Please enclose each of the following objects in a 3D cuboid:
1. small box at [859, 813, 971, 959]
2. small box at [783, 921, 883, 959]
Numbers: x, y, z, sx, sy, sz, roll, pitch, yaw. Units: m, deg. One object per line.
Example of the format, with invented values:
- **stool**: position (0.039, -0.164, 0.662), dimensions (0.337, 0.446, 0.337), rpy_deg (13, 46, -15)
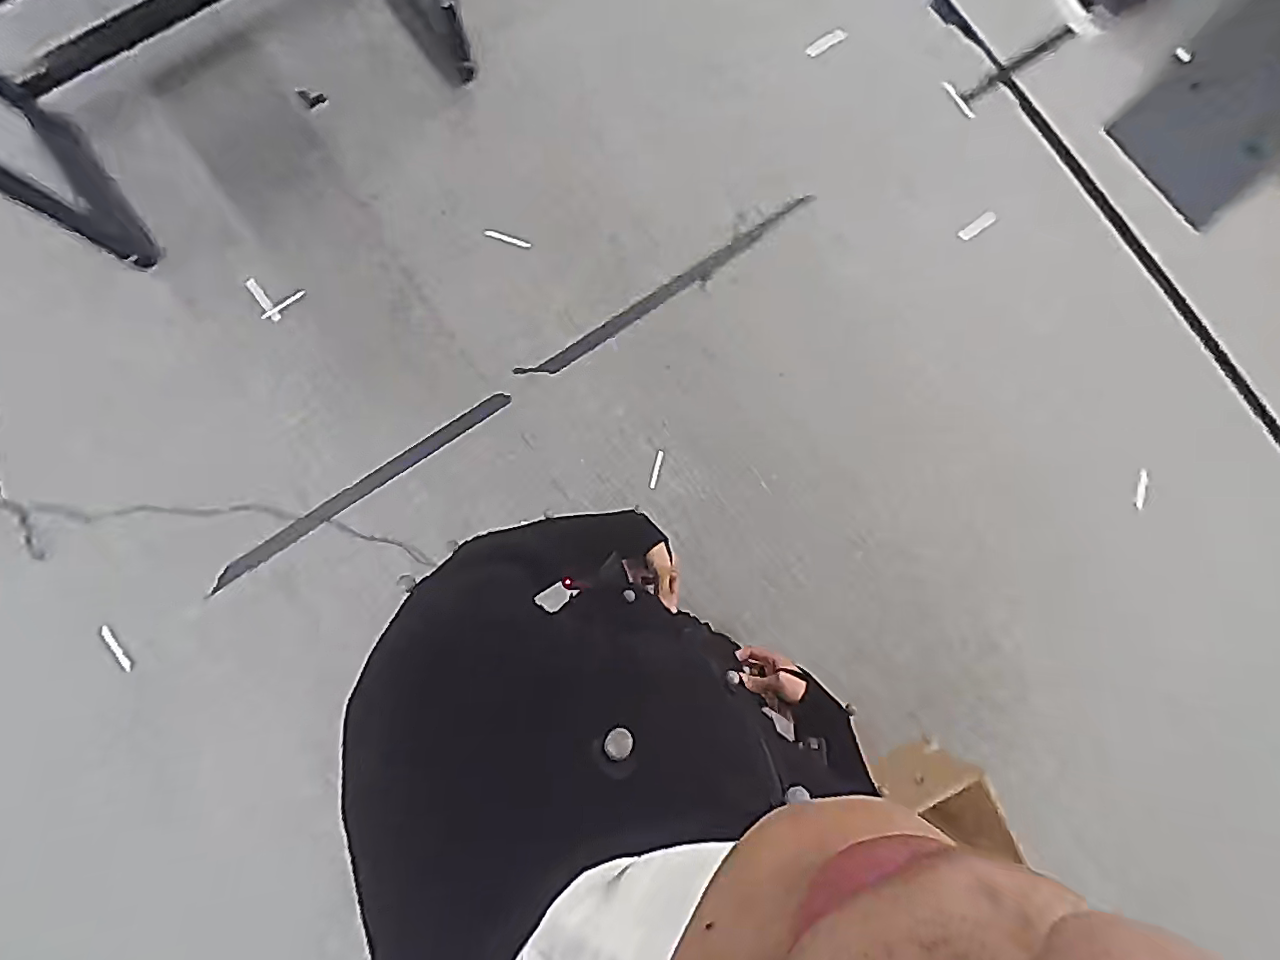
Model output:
- **small box**: position (0.602, 0.848, 1.133), dimensions (0.179, 0.176, 0.168), rpy_deg (-29, 88, -5)
- **small box**: position (0.377, 0.931, 0.946), dimensions (0.168, 0.176, 0.179), rpy_deg (-28, 89, -6)
